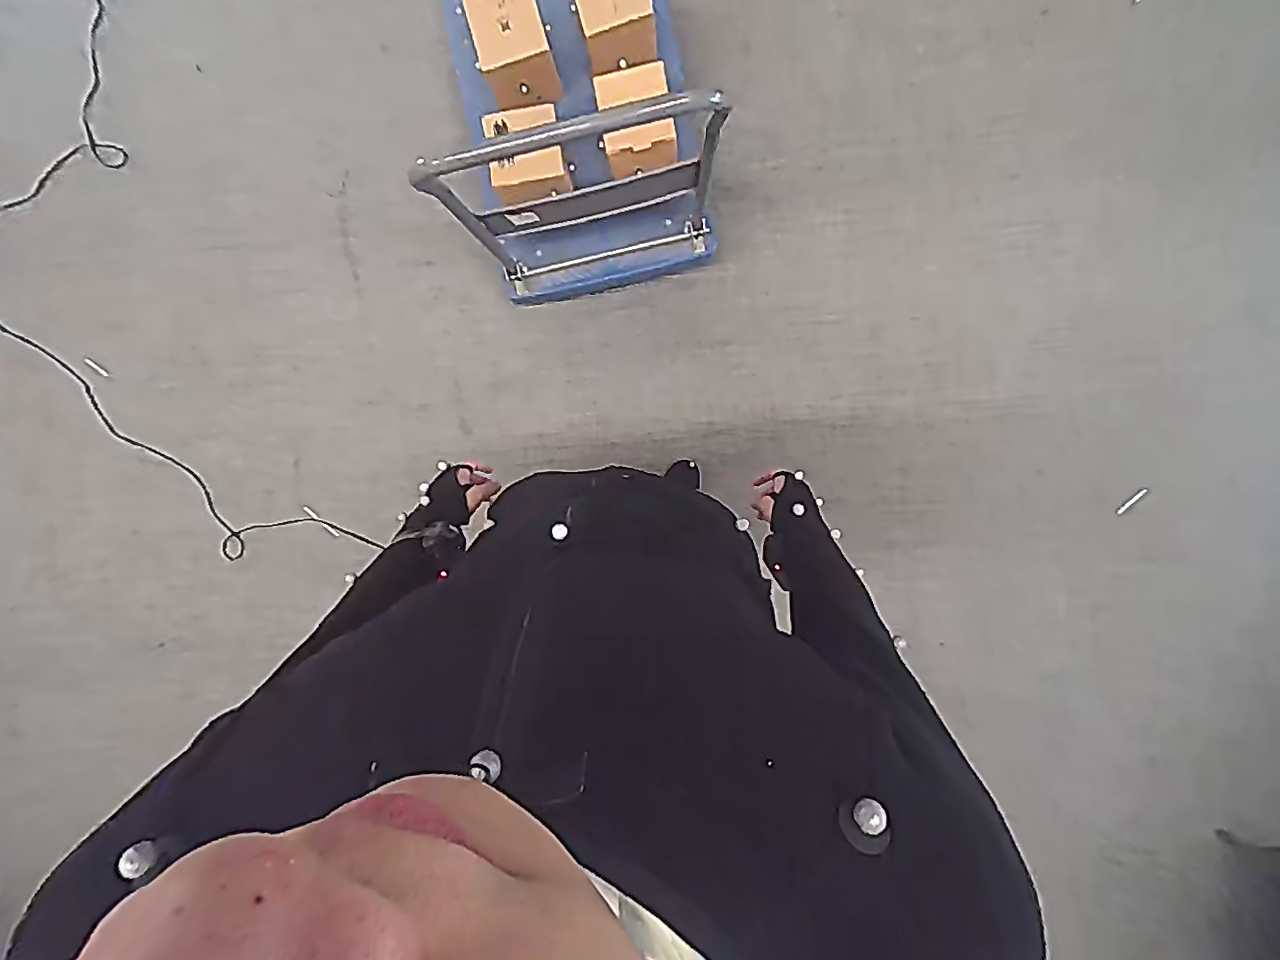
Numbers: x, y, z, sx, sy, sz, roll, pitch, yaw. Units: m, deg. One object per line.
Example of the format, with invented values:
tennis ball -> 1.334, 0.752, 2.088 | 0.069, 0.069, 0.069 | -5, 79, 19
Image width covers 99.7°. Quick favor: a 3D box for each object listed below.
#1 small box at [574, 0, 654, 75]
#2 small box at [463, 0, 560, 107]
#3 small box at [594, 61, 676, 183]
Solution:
small box -> -0.067, -1.134, 1.314 | 0.168, 0.176, 0.179 | -15, 94, 6
small box -> -0.308, -1.065, 1.335 | 0.168, 0.176, 0.179 | -16, 93, 4
small box -> -0.009, -0.870, 1.329 | 0.168, 0.176, 0.179 | -11, 93, 4
